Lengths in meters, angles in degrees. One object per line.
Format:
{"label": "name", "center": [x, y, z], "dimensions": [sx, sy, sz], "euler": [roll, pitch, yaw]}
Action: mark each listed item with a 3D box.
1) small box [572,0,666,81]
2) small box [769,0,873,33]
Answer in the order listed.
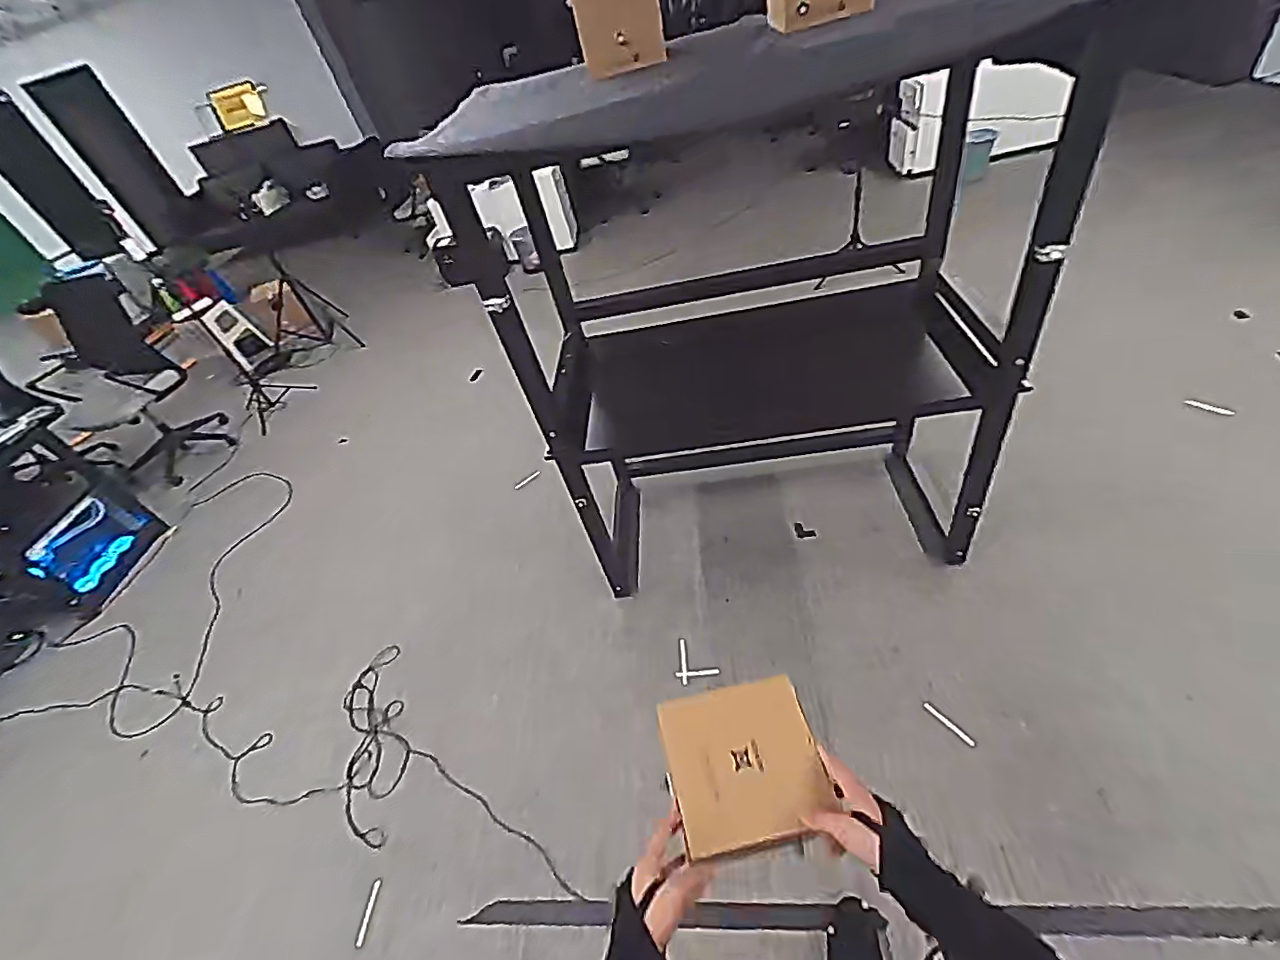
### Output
{"label": "small box", "center": [-0.043, -0.948, 1.112], "dimensions": [0.168, 0.176, 0.179], "euler": [-10, 44, 8]}
{"label": "small box", "center": [0.337, -0.972, 1.019], "dimensions": [0.168, 0.176, 0.179], "euler": [-9, 43, 8]}
